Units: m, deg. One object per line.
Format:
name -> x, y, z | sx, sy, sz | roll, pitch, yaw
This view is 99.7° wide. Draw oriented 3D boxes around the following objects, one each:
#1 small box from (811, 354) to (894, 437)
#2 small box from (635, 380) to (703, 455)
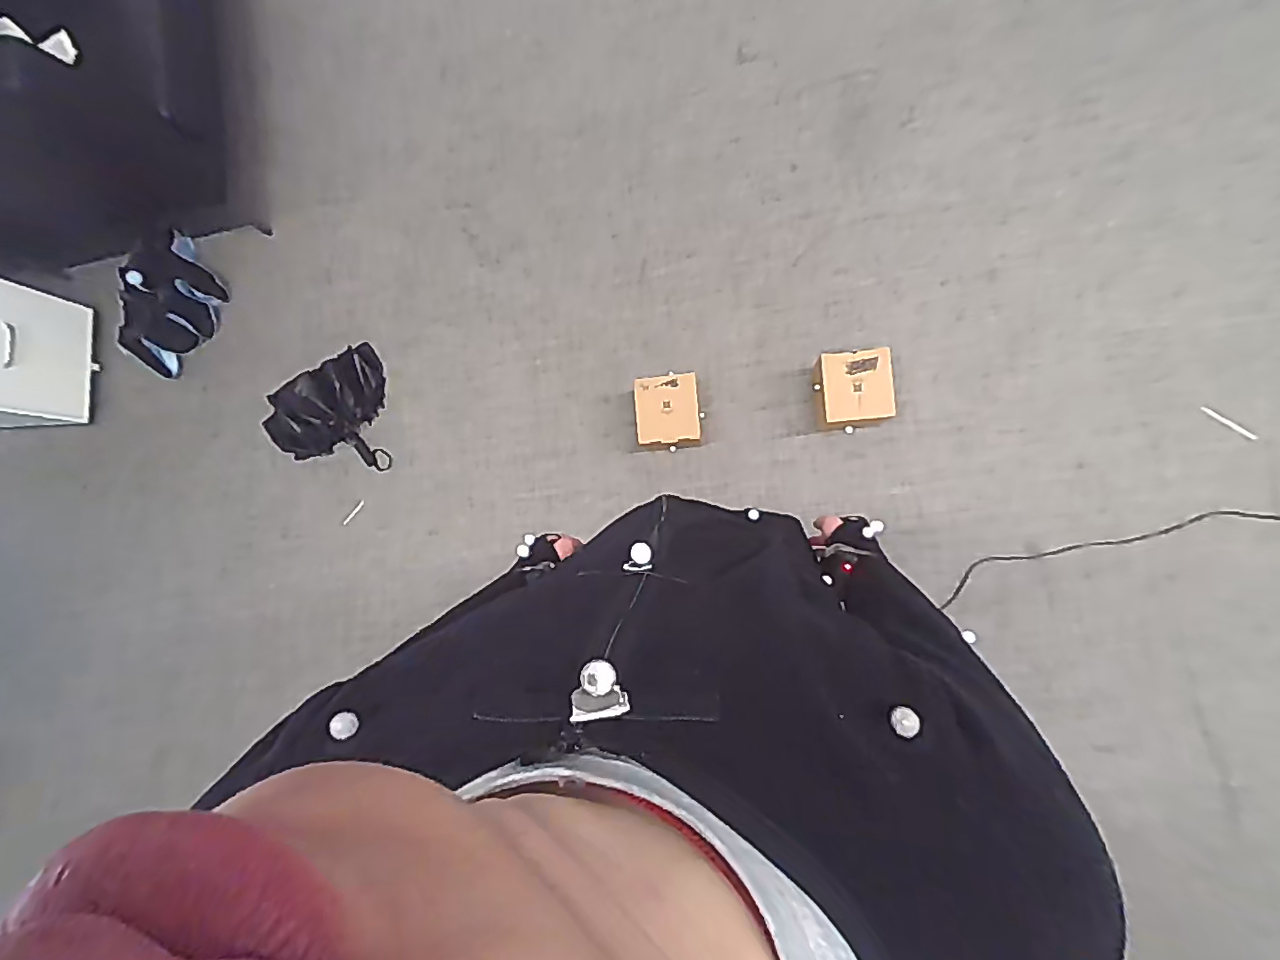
small box -> 0.553, -0.217, 1.425 | 0.168, 0.176, 0.179 | -5, 86, 10
small box -> 0.085, -0.165, 1.498 | 0.168, 0.176, 0.179 | -5, 85, 9
